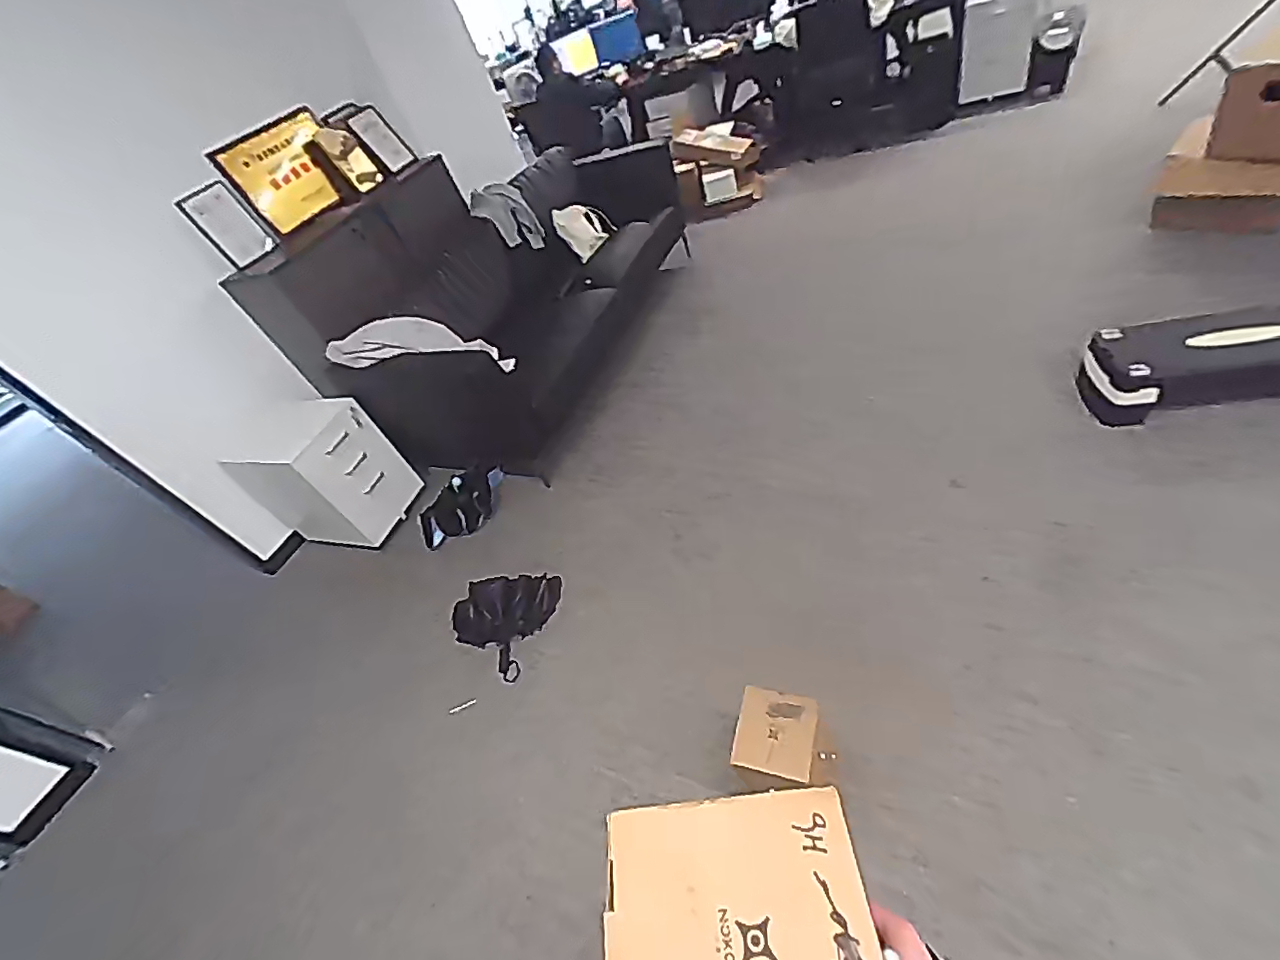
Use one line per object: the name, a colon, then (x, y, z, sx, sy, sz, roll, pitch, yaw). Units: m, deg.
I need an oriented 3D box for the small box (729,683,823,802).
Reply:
small box: (0.314, 0.589, 1.218, 0.168, 0.176, 0.179, 1, 48, 28)

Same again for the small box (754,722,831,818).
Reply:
small box: (0.371, 0.696, 1.330, 0.168, 0.176, 0.179, 1, 49, 28)
